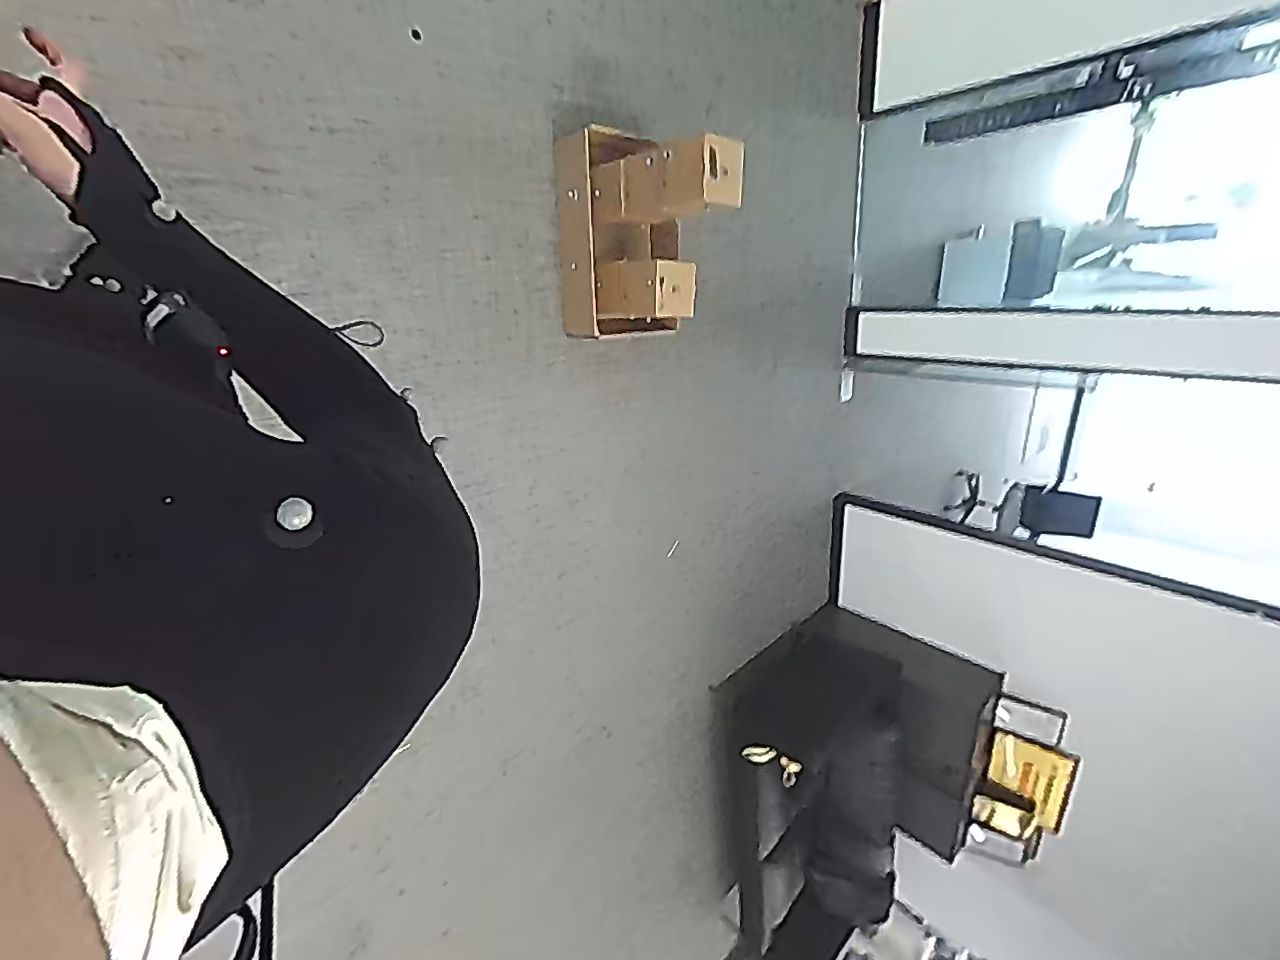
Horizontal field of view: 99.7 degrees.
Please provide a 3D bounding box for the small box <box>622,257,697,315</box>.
[{"bbox_3d":[0.062,-0.623,1.746,0.179,0.176,0.168,-14,113,-41],"label":"small box"}]

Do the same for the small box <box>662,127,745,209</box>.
[{"bbox_3d":[0.177,-0.878,1.539,0.179,0.176,0.168,-18,116,-41],"label":"small box"}]

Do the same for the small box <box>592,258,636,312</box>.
[{"bbox_3d":[-0.046,-0.669,1.861,0.179,0.176,0.168,-16,114,-39],"label":"small box"}]

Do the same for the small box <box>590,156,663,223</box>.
[{"bbox_3d":[-0.045,-0.945,1.771,0.179,0.176,0.168,-17,115,-40],"label":"small box"}]

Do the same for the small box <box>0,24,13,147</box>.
[{"bbox_3d":[-0.564,-0.351,0.361,0.168,0.176,0.179,-8,113,-42],"label":"small box"}]
